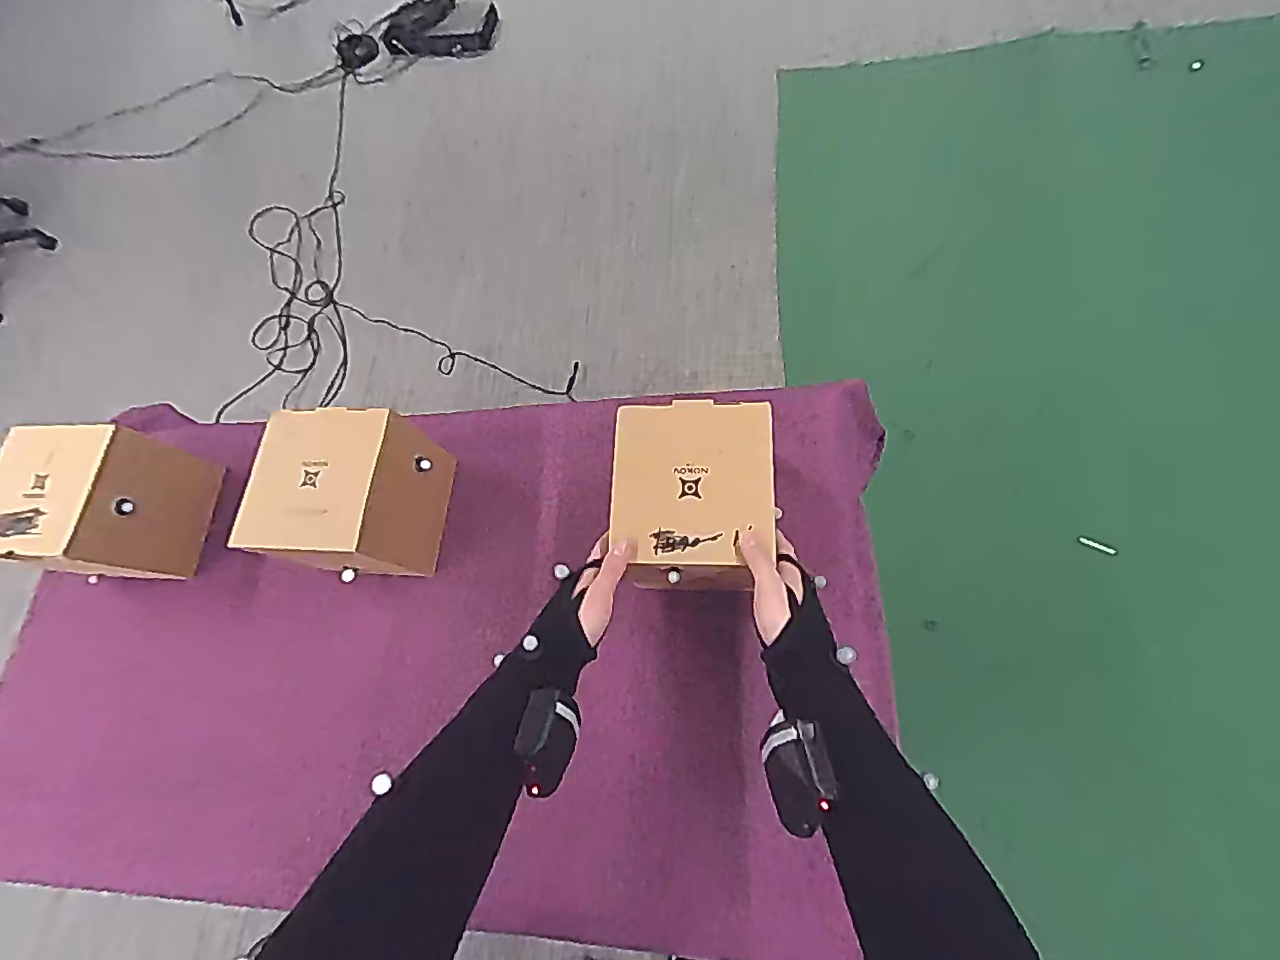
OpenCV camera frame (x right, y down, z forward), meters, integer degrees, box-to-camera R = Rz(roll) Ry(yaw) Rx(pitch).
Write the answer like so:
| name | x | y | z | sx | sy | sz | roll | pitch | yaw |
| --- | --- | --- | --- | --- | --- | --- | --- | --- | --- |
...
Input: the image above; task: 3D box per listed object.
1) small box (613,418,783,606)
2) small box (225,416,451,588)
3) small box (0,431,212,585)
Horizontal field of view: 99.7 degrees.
| name | x | y | z | sx | sy | sz | roll | pitch | yaw |
| --- | --- | --- | --- | --- | --- | --- | --- | --- | --- |
| small box | 0.069 | 0.043 | 0.618 | 0.168 | 0.176 | 0.179 | 0 | 71 | 9 |
| small box | -0.362 | 0.033 | 0.687 | 0.168 | 0.176 | 0.179 | 2 | 72 | 10 |
| small box | -0.737 | 0.045 | 0.734 | 0.168 | 0.176 | 0.179 | 1 | 71 | 8 |
